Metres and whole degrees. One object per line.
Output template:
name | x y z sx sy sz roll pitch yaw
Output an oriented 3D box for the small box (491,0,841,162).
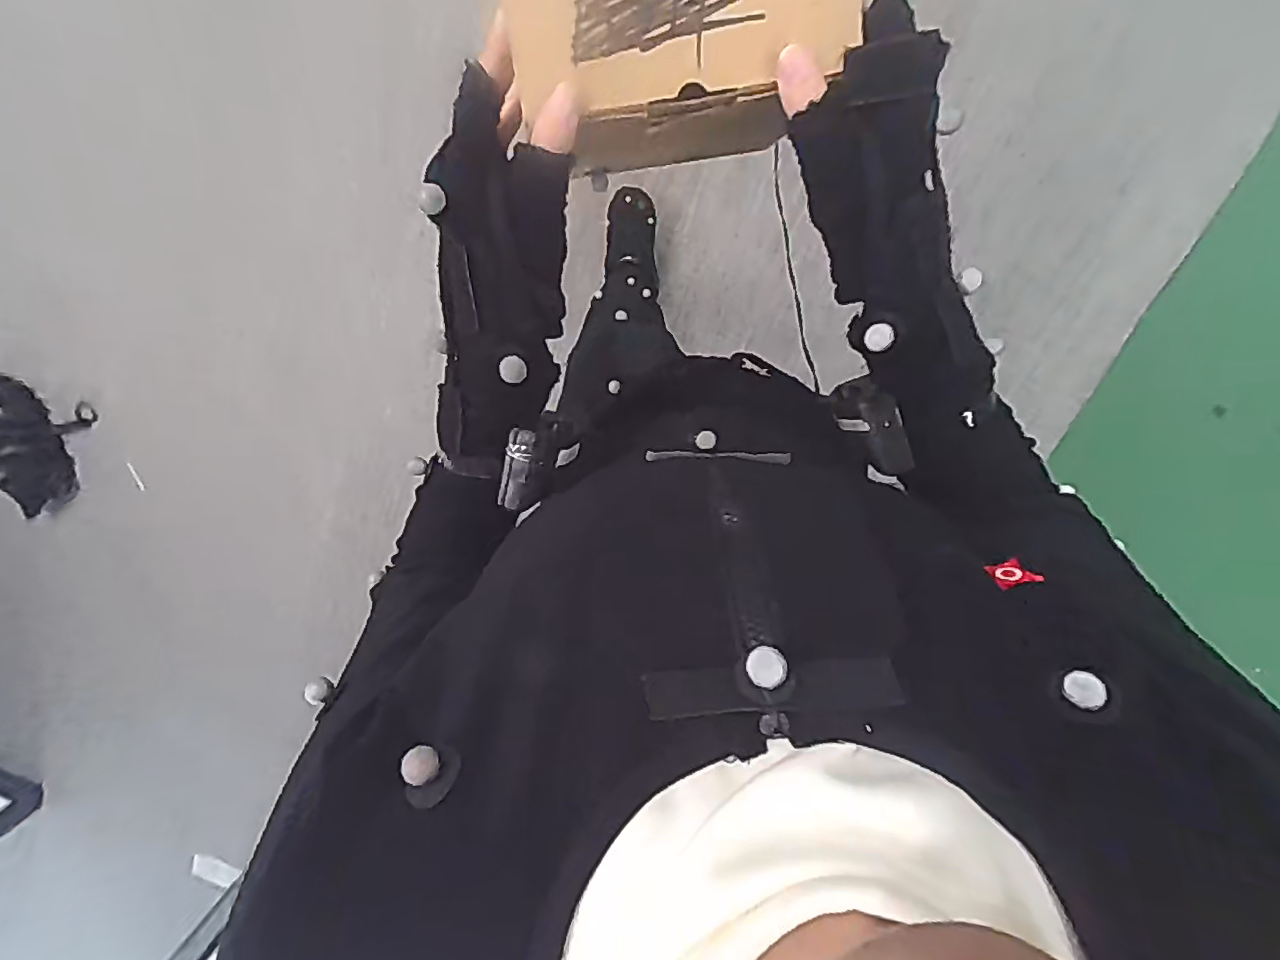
small box | 0.004 -0.298 0.309 0.168 0.176 0.179 -8 109 0
